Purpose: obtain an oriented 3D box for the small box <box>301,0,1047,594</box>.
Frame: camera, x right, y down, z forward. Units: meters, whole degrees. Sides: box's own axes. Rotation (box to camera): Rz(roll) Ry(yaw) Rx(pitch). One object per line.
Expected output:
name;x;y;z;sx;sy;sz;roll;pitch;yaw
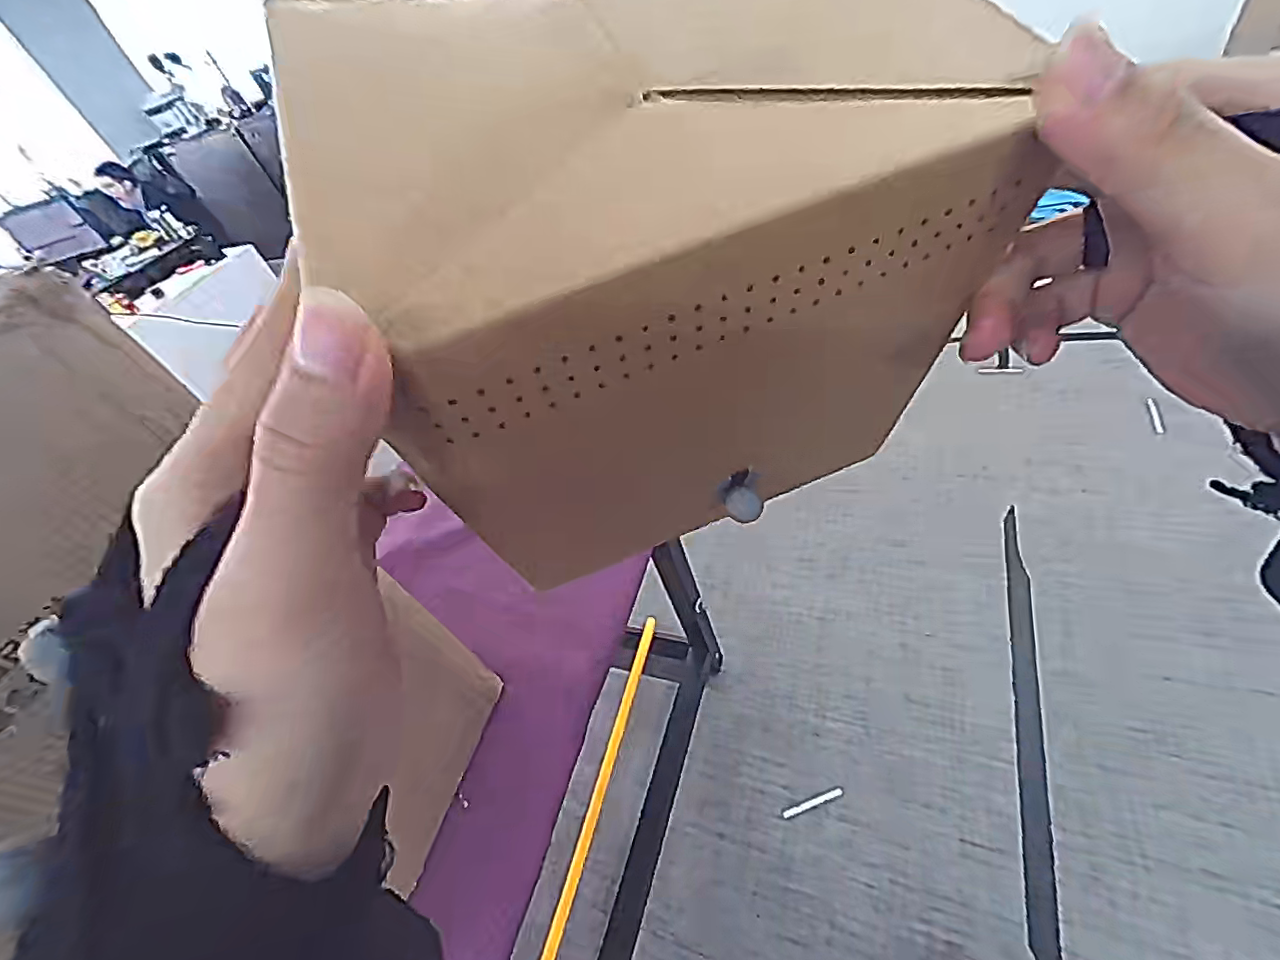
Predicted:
small box;-0.002;-0.079;0.221;0.179;0.176;0.168;-22;64;-4
